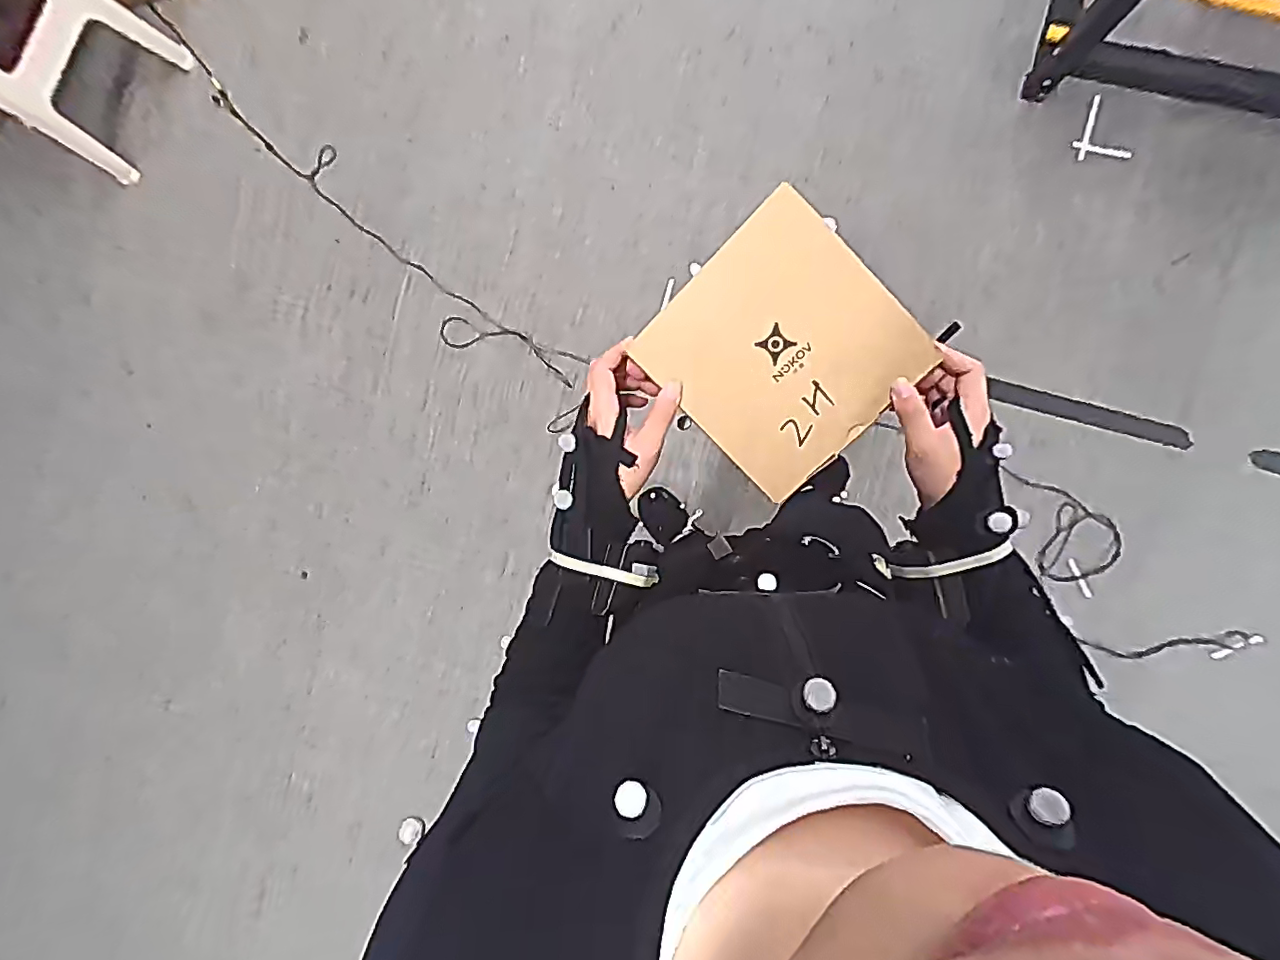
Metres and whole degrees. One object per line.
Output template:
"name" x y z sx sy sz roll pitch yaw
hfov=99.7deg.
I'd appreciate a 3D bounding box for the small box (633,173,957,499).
"small box" 0.117 -0.115 0.470 0.179 0.176 0.168 45 104 -6
